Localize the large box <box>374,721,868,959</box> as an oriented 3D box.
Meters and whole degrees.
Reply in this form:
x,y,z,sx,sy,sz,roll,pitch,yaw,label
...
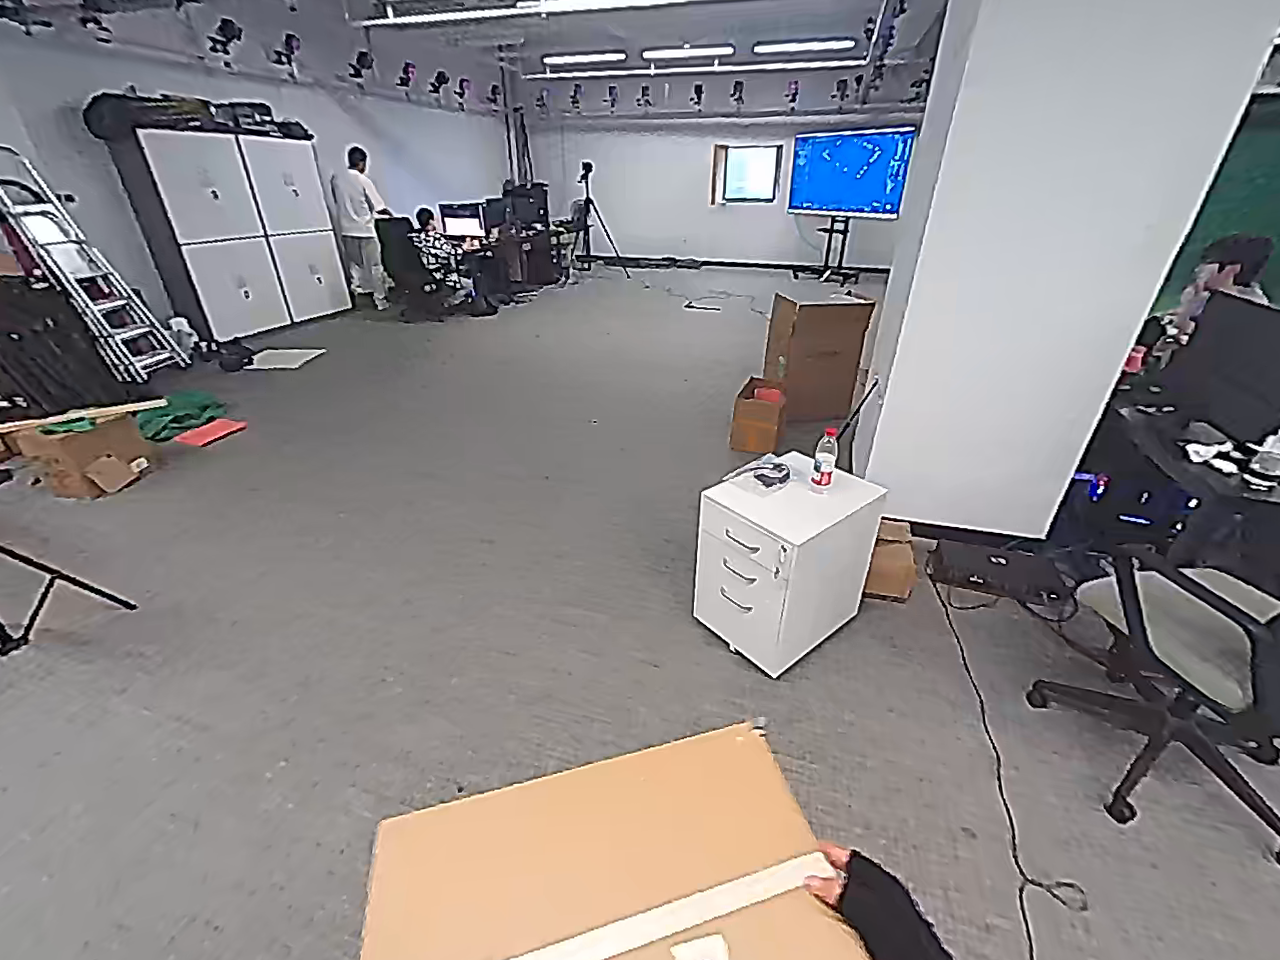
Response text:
x,y,z,sx,sy,sz,roll,pitch,yaw,label
-0.022,0.518,0.543,0.408,0.320,0.320,-9,33,-14,large box
